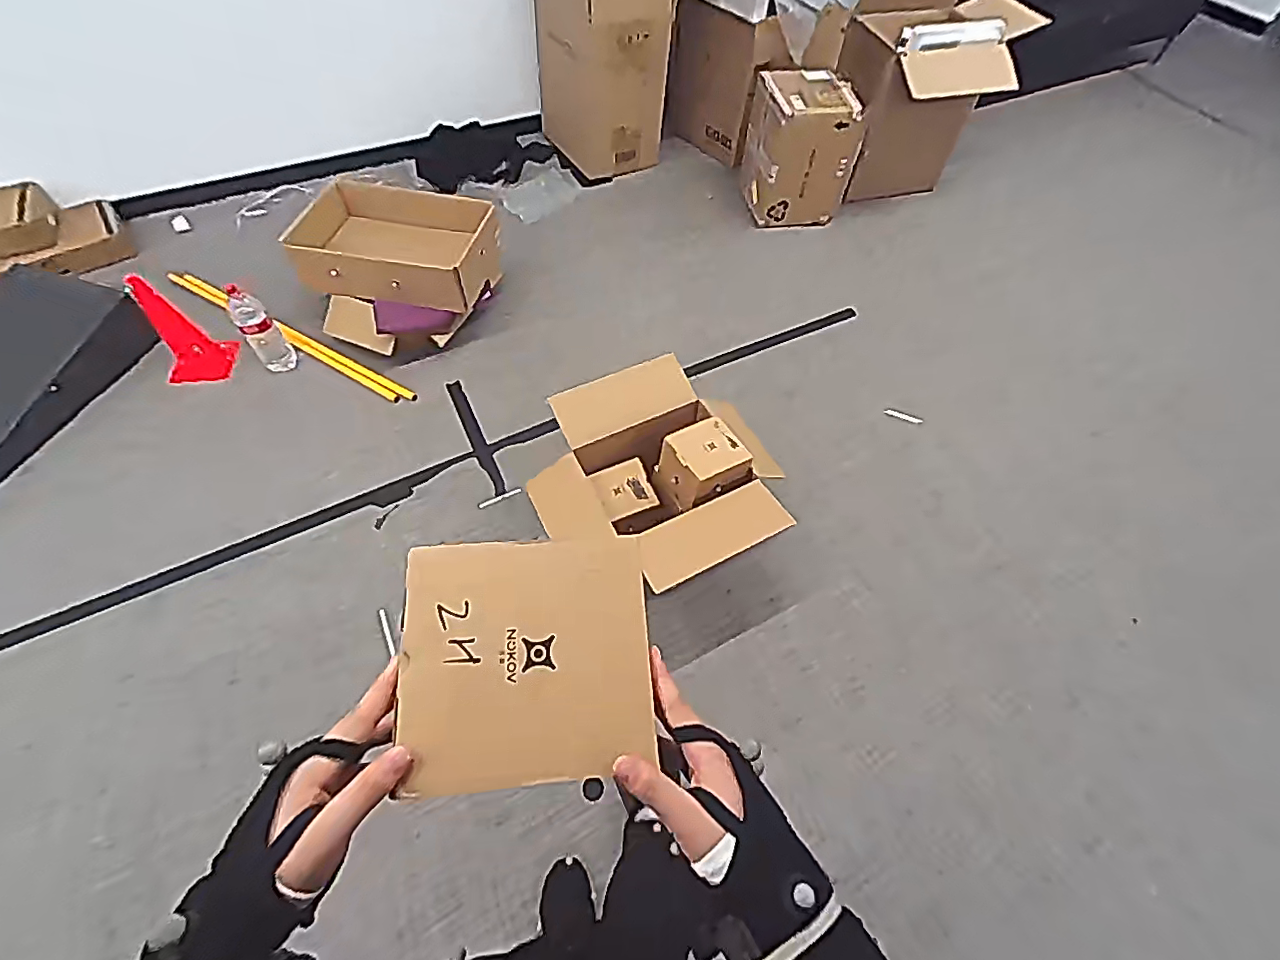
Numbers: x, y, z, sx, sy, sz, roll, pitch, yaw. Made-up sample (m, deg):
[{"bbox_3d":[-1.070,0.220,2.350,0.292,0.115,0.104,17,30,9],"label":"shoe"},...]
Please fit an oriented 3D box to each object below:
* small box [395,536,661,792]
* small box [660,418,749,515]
[{"bbox_3d":[-0.085,0.152,0.458,0.179,0.176,0.168,-3,67,-6],"label":"small box"},{"bbox_3d":[0.166,-0.032,1.467,0.179,0.176,0.168,-24,60,-21],"label":"small box"}]
